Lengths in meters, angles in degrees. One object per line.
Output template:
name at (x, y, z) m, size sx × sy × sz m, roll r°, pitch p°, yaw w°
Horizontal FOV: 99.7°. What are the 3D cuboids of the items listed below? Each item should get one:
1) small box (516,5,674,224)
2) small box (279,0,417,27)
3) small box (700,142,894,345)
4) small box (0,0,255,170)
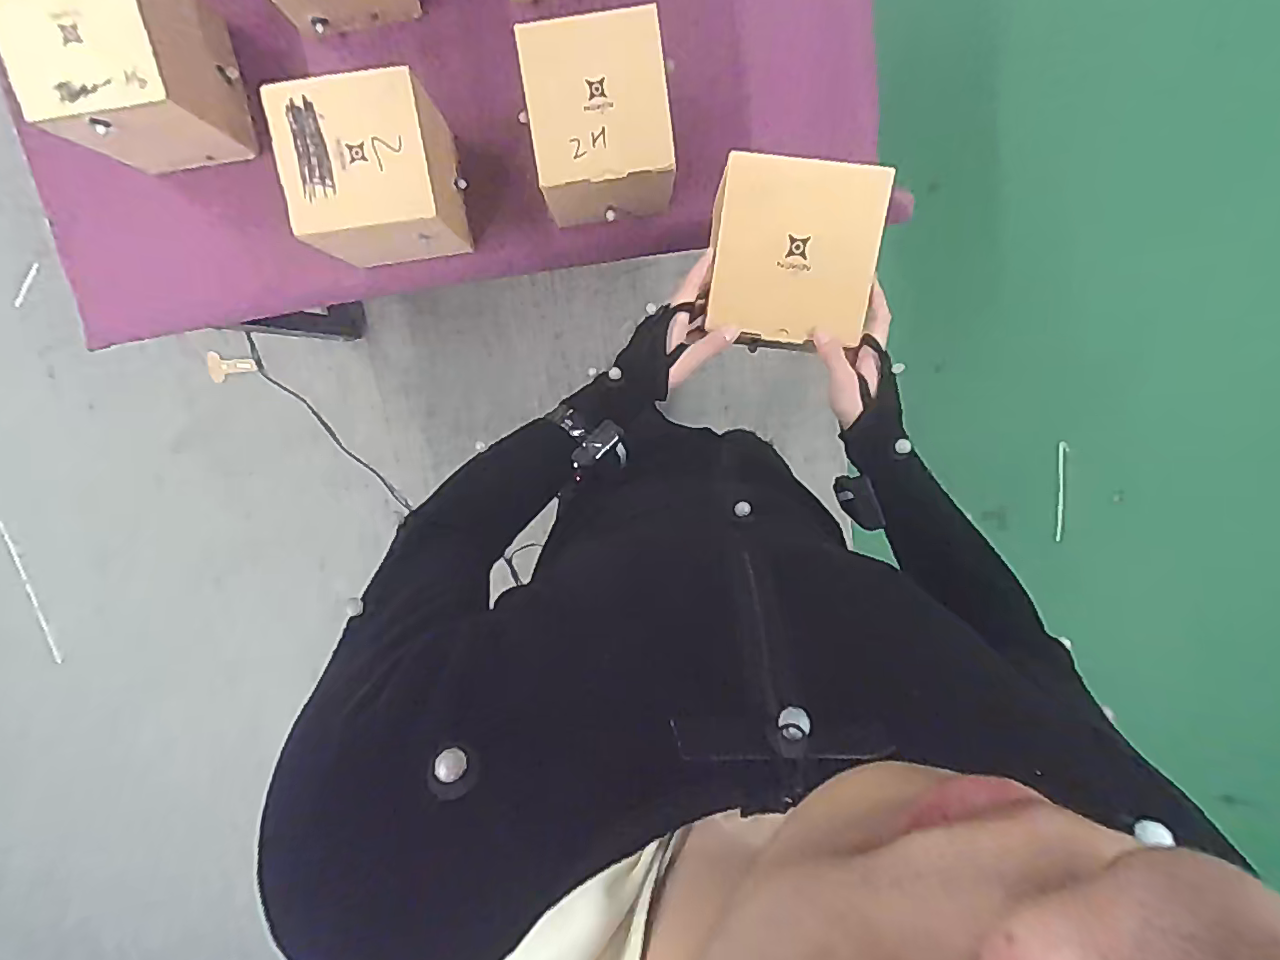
small box at (-0.053, -0.458, 0.705) m, size 0.168 × 0.176 × 0.179 m, roll -8°, pitch 101°, yaw 1°
small box at (-0.393, -0.693, 0.651) m, size 0.168 × 0.176 × 0.179 m, roll -10°, pitch 101°, yaw 0°
small box at (0.163, -0.256, 0.627) m, size 0.168 × 0.176 × 0.179 m, roll 7°, pitch 103°, yaw 1°
small box at (-0.632, -0.521, 0.674) m, size 0.168 × 0.176 × 0.179 m, roll -8°, pitch 101°, yaw 1°
